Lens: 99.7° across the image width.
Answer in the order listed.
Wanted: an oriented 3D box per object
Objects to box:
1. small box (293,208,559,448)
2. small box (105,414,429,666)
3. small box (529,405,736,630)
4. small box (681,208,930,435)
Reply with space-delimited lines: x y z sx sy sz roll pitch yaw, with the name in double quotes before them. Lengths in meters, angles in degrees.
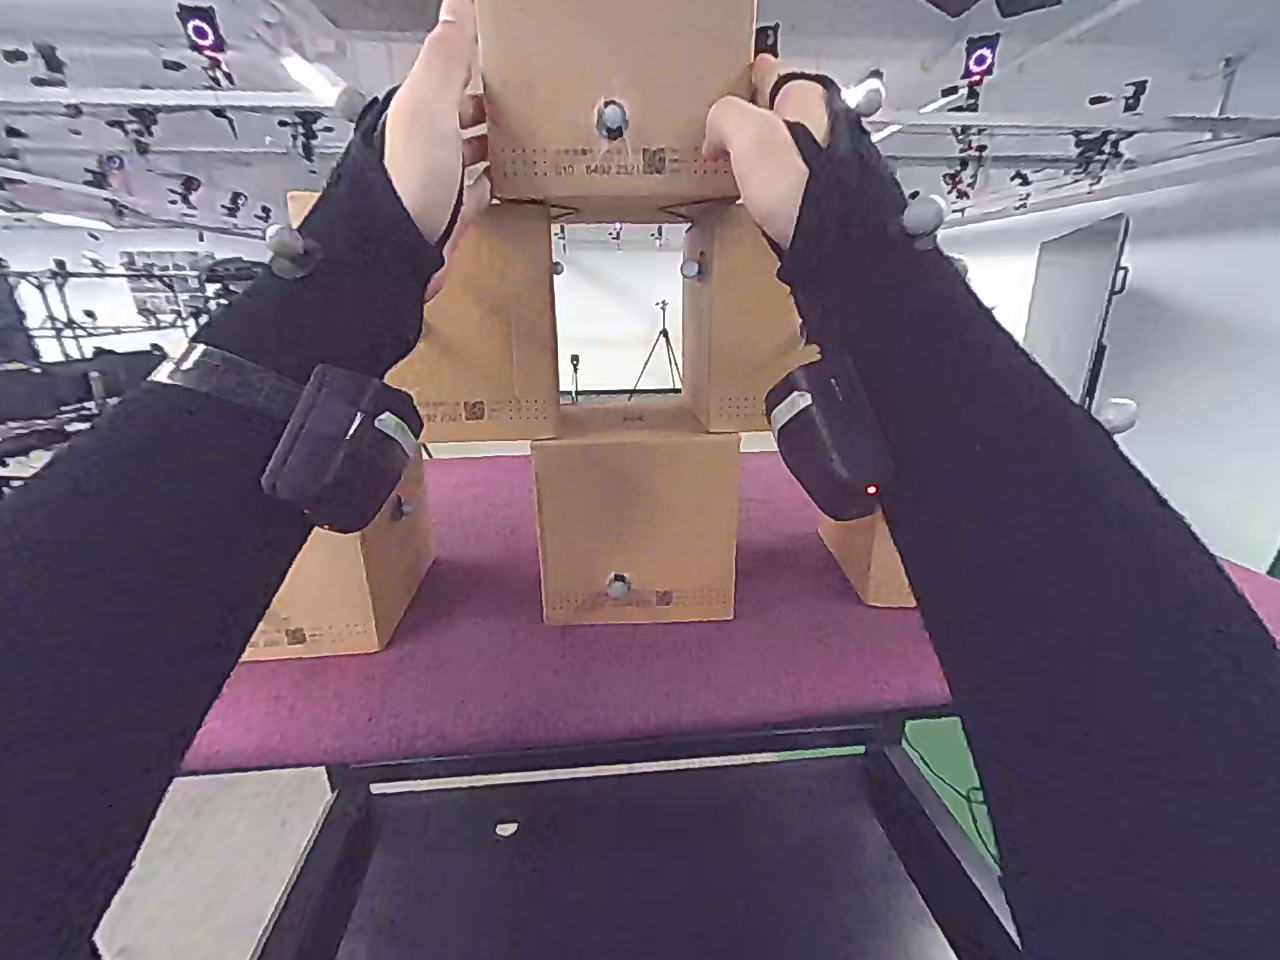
"small box" -0.158 -0.124 0.461 0.168 0.176 0.179 -3 17 -11
"small box" -0.295 0.039 0.478 0.168 0.176 0.179 -2 19 -6
"small box" -0.008 0.026 0.524 0.168 0.176 0.179 -2 19 -2
"small box" 0.128 -0.137 0.488 0.168 0.176 0.179 -2 18 -2
